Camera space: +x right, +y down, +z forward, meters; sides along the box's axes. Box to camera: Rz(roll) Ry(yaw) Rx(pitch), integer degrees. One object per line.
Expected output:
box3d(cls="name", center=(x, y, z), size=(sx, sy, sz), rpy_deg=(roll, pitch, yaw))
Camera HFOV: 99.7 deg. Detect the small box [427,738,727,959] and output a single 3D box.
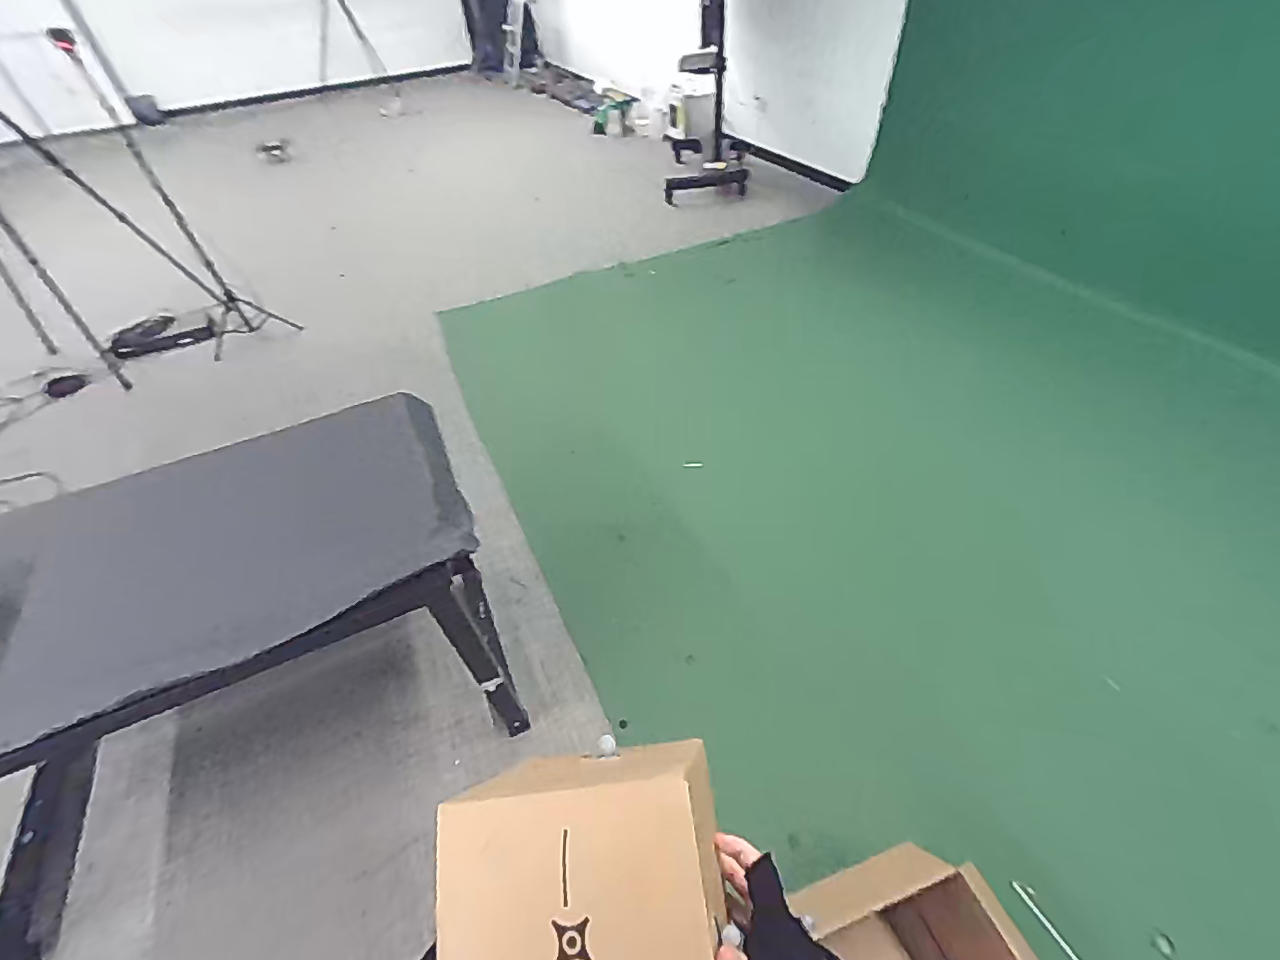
box3d(cls="small box", center=(-0.033, 0.298, 0.387), size=(0.168, 0.176, 0.179), rpy_deg=(-10, 69, 6))
